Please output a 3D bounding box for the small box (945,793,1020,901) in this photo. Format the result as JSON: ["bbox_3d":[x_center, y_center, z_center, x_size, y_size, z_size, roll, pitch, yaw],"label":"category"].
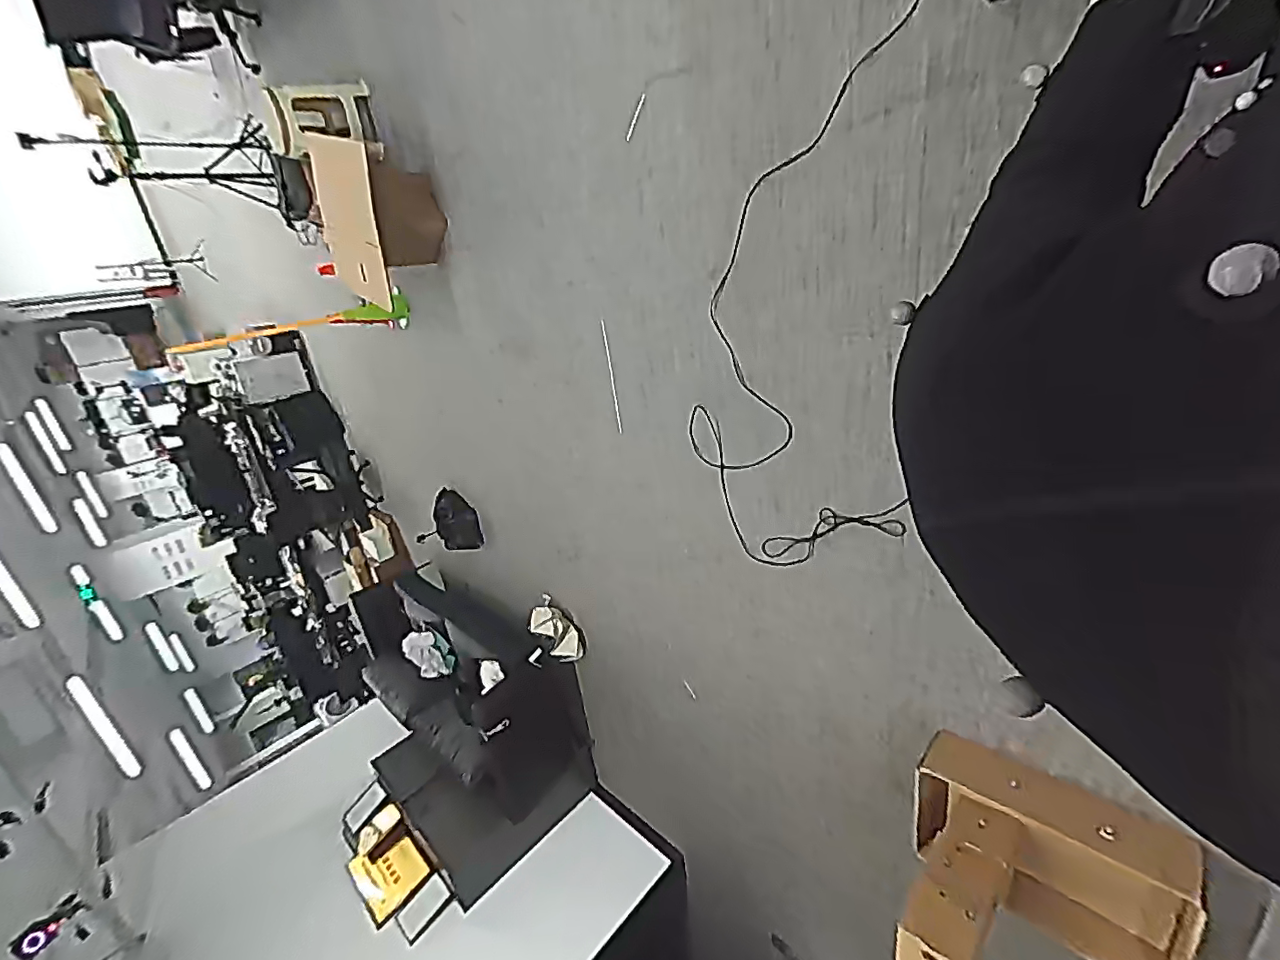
[{"bbox_3d":[1.035,1.096,1.633,0.168,0.176,0.179,5,115,44],"label":"small box"}]

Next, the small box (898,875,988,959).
[{"bbox_3d":[0.801,1.208,1.429,0.168,0.176,0.179,13,120,43],"label":"small box"}]

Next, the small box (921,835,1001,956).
[{"bbox_3d":[0.902,1.161,1.527,0.168,0.176,0.179,11,119,43],"label":"small box"}]
